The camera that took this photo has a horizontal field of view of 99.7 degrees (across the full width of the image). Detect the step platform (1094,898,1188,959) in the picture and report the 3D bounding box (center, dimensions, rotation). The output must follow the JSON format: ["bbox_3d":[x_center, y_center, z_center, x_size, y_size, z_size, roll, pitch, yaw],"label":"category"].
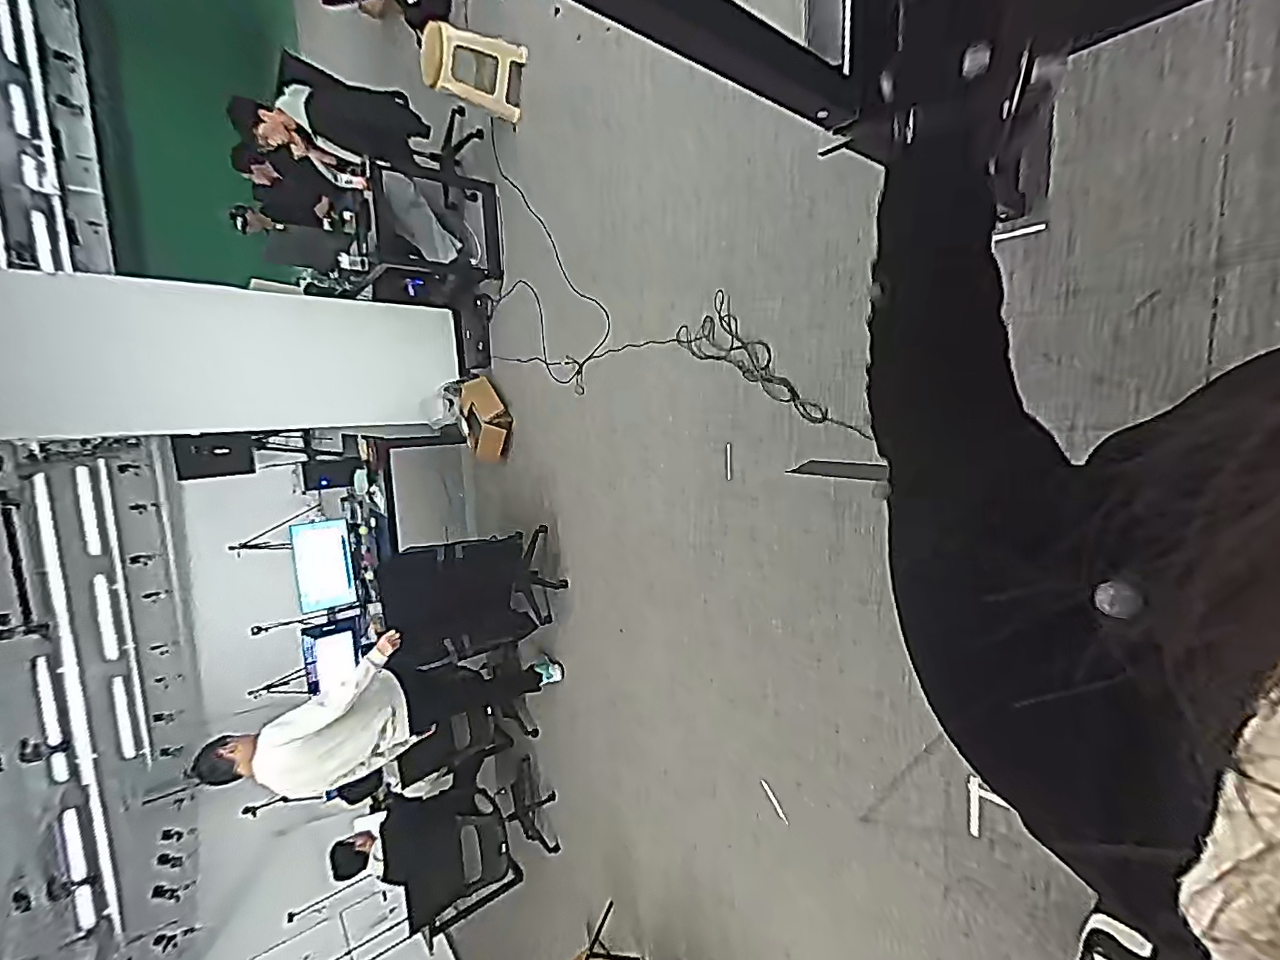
[{"bbox_3d":[1.238,1.148,0.961,0.684,0.204,0.286,17,109,49],"label":"step platform"}]
